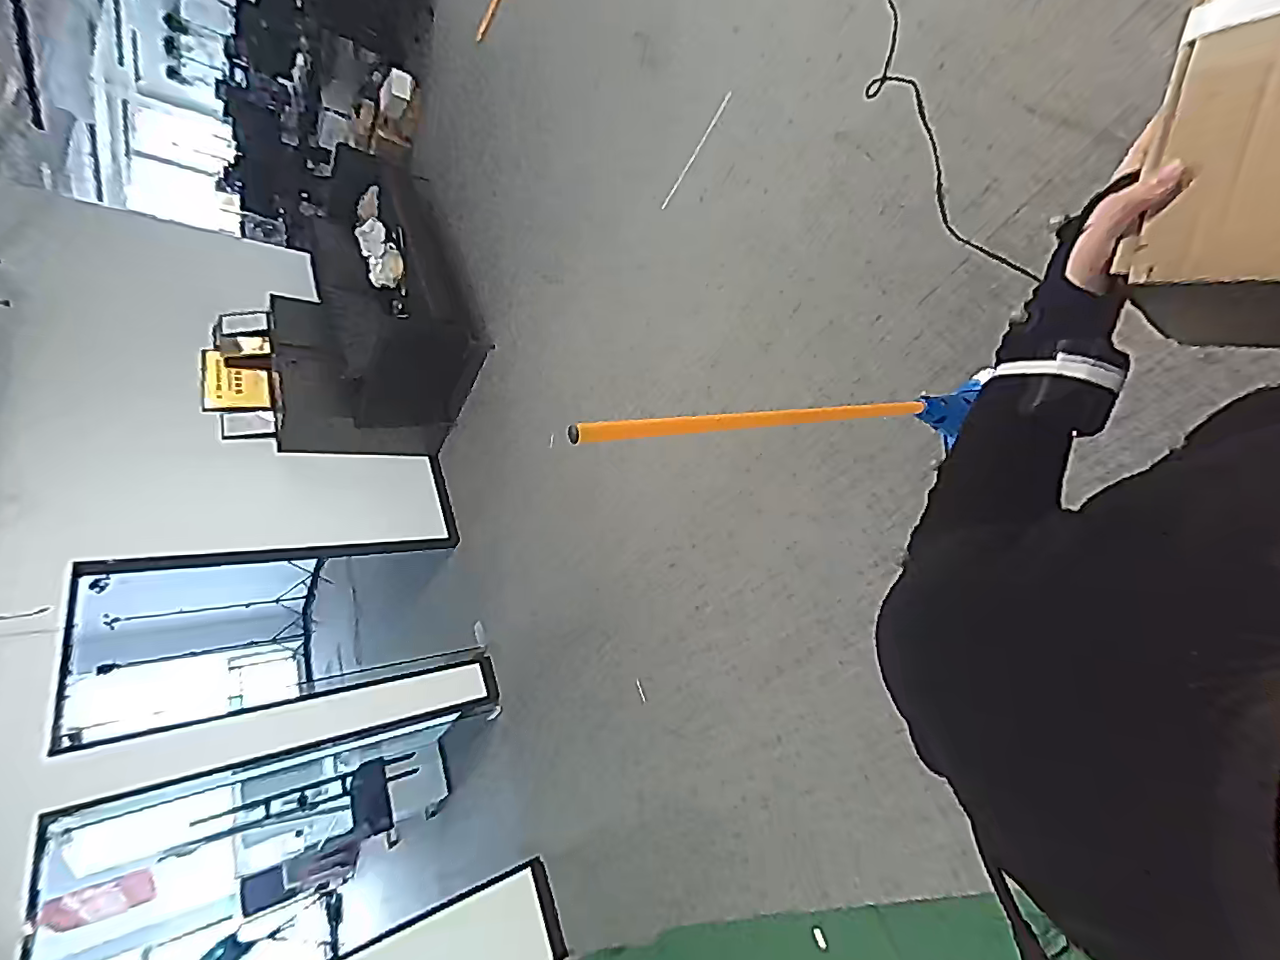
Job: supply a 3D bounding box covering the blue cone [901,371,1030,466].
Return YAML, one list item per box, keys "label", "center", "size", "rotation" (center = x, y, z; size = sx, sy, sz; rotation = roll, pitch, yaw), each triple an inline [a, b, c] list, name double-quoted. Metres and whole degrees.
- label: "blue cone"
  center: [0.722, -0.151, 1.264]
  size: [0.193, 0.380, 0.192]
  rotation: [-53, 52, 38]
